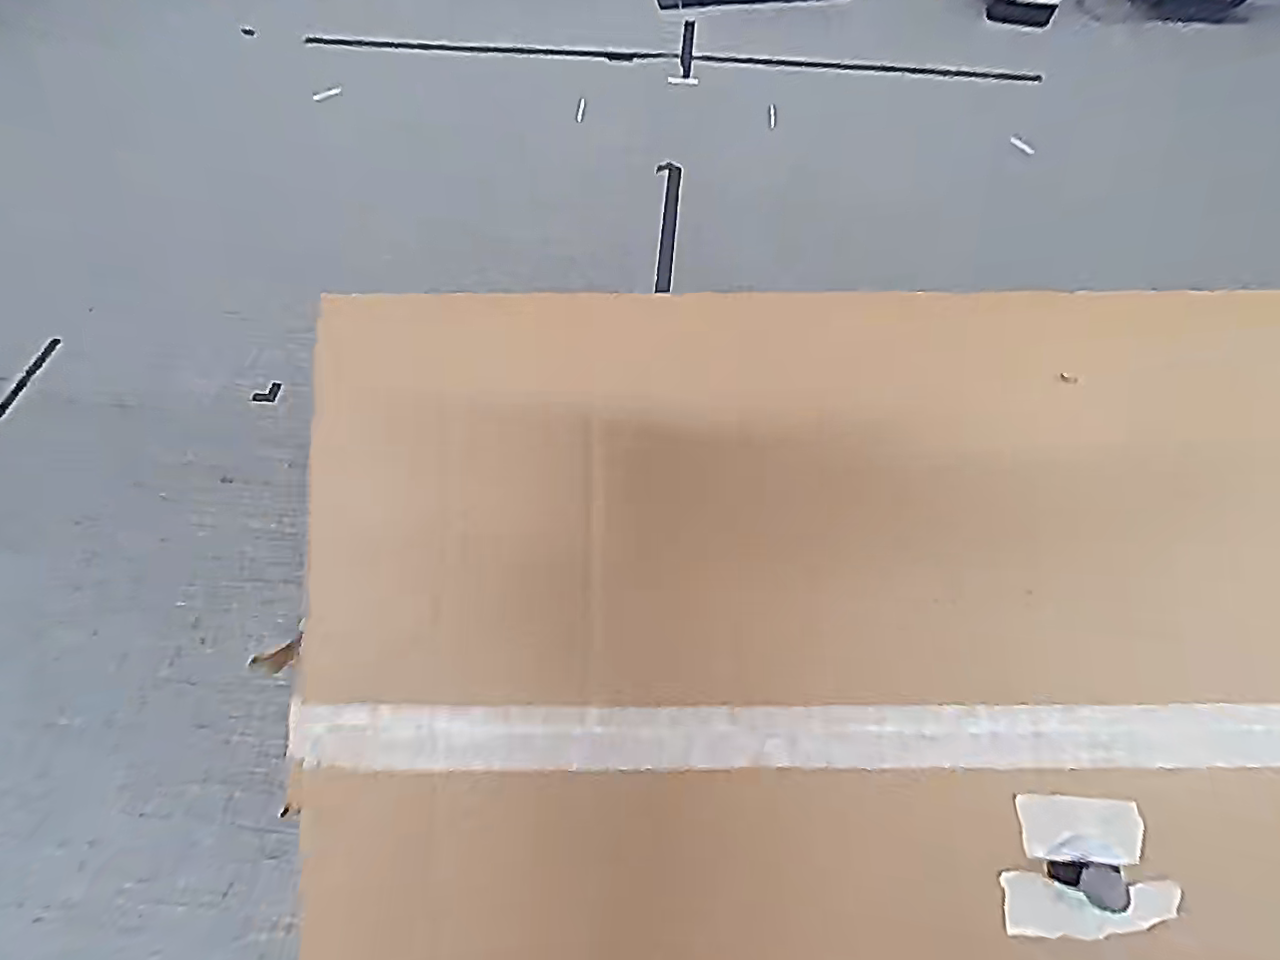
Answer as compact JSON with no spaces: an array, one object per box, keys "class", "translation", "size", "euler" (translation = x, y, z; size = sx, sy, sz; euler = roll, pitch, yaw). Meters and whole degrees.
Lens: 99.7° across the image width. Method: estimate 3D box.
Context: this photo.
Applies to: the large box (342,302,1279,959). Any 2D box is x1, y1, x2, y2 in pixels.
[{"class":"large box","translation":[0.086,0.092,0.353],"size":[0.408,0.320,0.320],"euler":[0,88,0]}]
